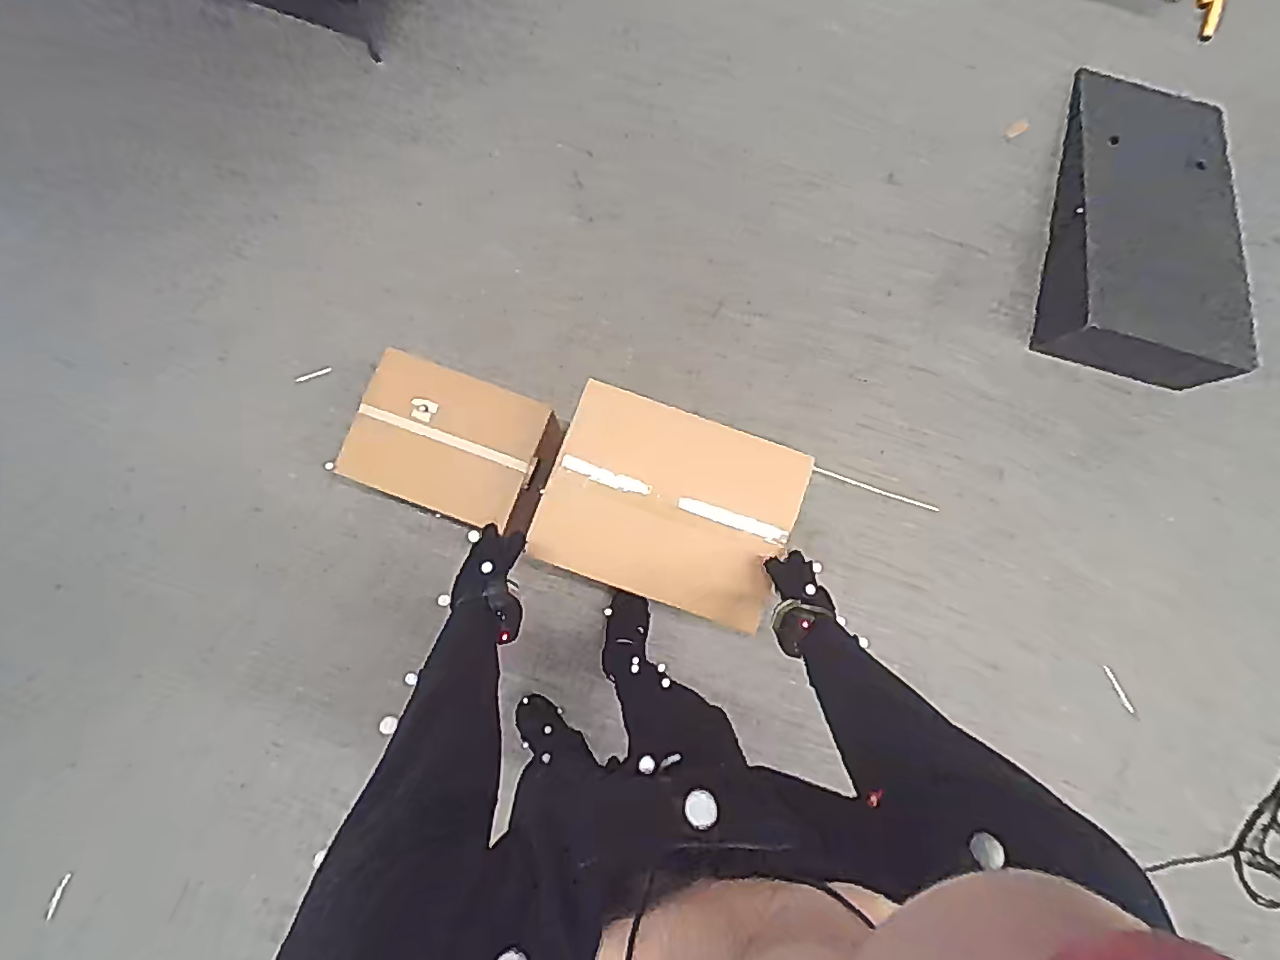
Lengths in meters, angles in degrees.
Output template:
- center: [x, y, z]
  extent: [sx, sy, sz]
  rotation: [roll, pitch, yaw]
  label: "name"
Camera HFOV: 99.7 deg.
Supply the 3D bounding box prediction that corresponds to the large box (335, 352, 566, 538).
- center: [-0.433, -0.064, 1.340]
  extent: [0.408, 0.320, 0.320]
  rotation: [20, 81, 1]
  label: "large box"
